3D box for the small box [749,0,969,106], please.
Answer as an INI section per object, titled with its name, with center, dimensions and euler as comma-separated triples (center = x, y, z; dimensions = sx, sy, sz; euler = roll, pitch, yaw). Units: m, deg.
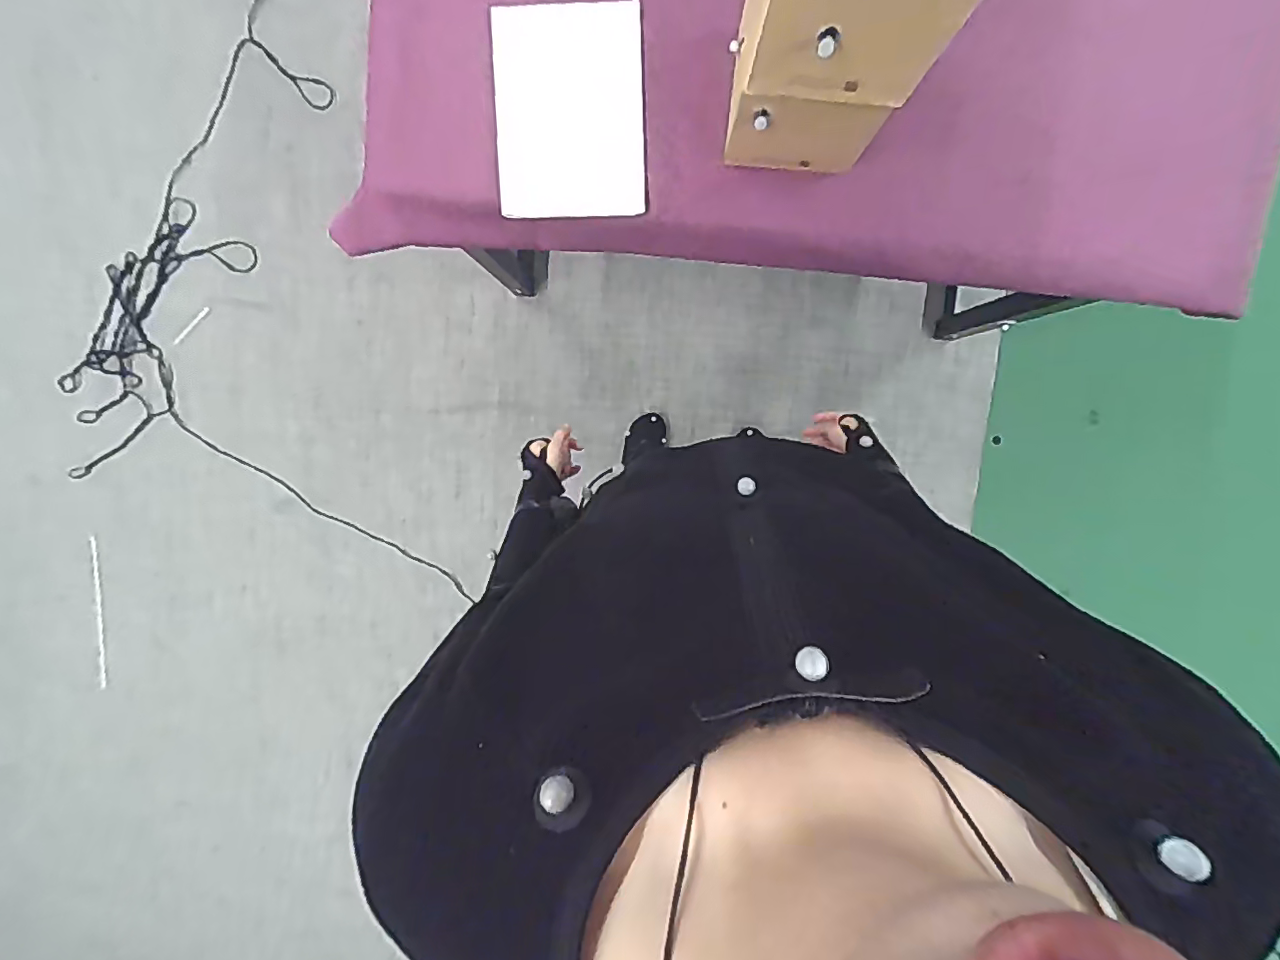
[small box]
center = 0.196, -0.471, 0.477
dimensions = 0.168, 0.176, 0.179
euler = 6, 95, 1
